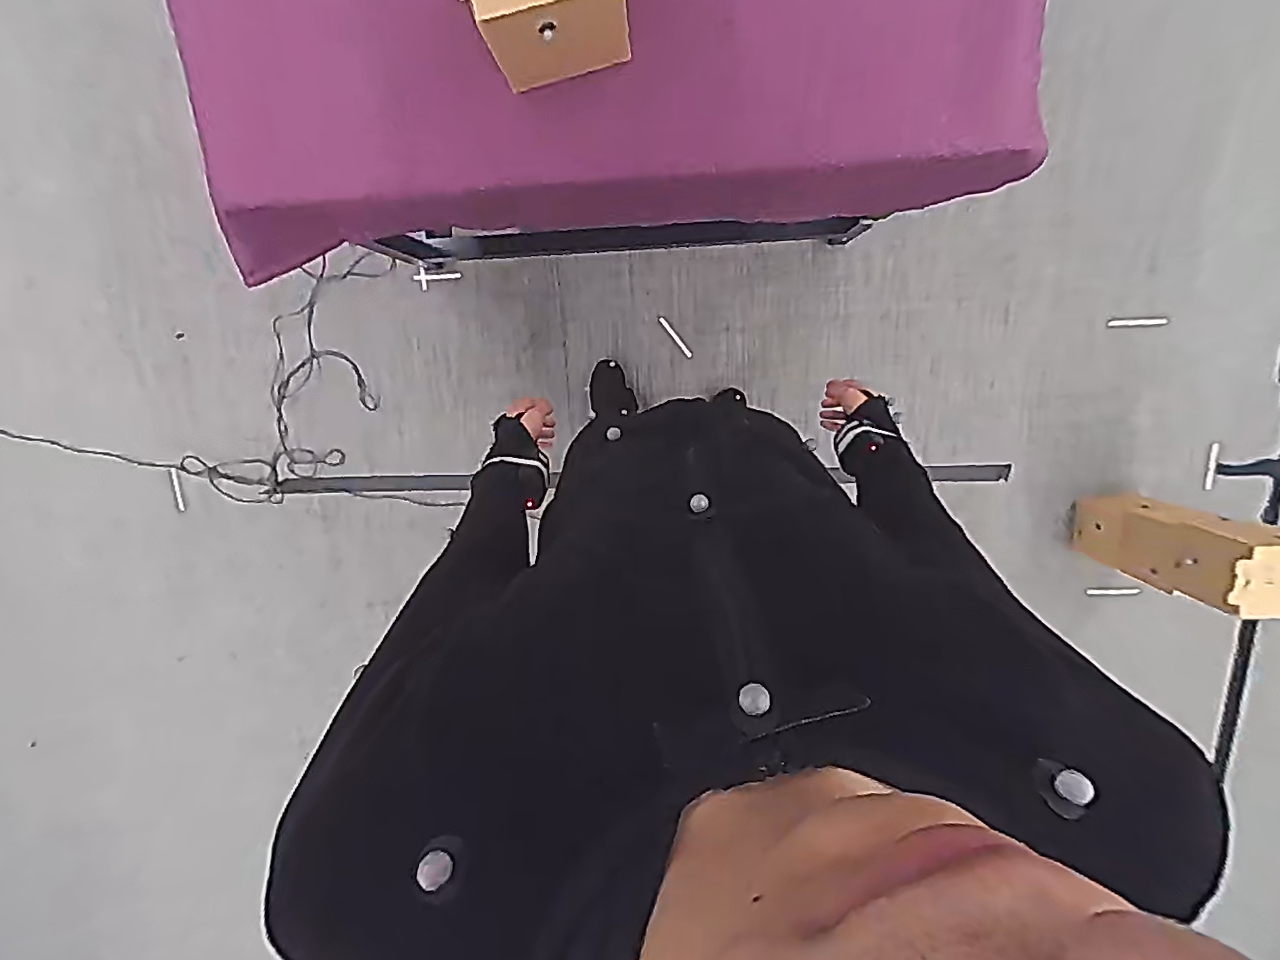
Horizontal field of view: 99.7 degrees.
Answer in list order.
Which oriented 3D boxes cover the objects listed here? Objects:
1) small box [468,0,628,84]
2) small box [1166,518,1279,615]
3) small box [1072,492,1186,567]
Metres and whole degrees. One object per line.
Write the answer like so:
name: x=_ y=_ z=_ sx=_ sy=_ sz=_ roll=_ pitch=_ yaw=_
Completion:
small box: x=-0.120 y=-0.633 z=0.668 sx=0.179 sy=0.176 sz=0.168 roll=-13 pitch=102 yaw=4
small box: x=1.351 y=0.187 z=1.205 sx=0.179 sy=0.176 sz=0.168 roll=0 pitch=103 yaw=3
small box: x=1.373 y=0.137 z=1.532 sx=0.179 sy=0.176 sz=0.168 roll=-6 pitch=102 yaw=3
